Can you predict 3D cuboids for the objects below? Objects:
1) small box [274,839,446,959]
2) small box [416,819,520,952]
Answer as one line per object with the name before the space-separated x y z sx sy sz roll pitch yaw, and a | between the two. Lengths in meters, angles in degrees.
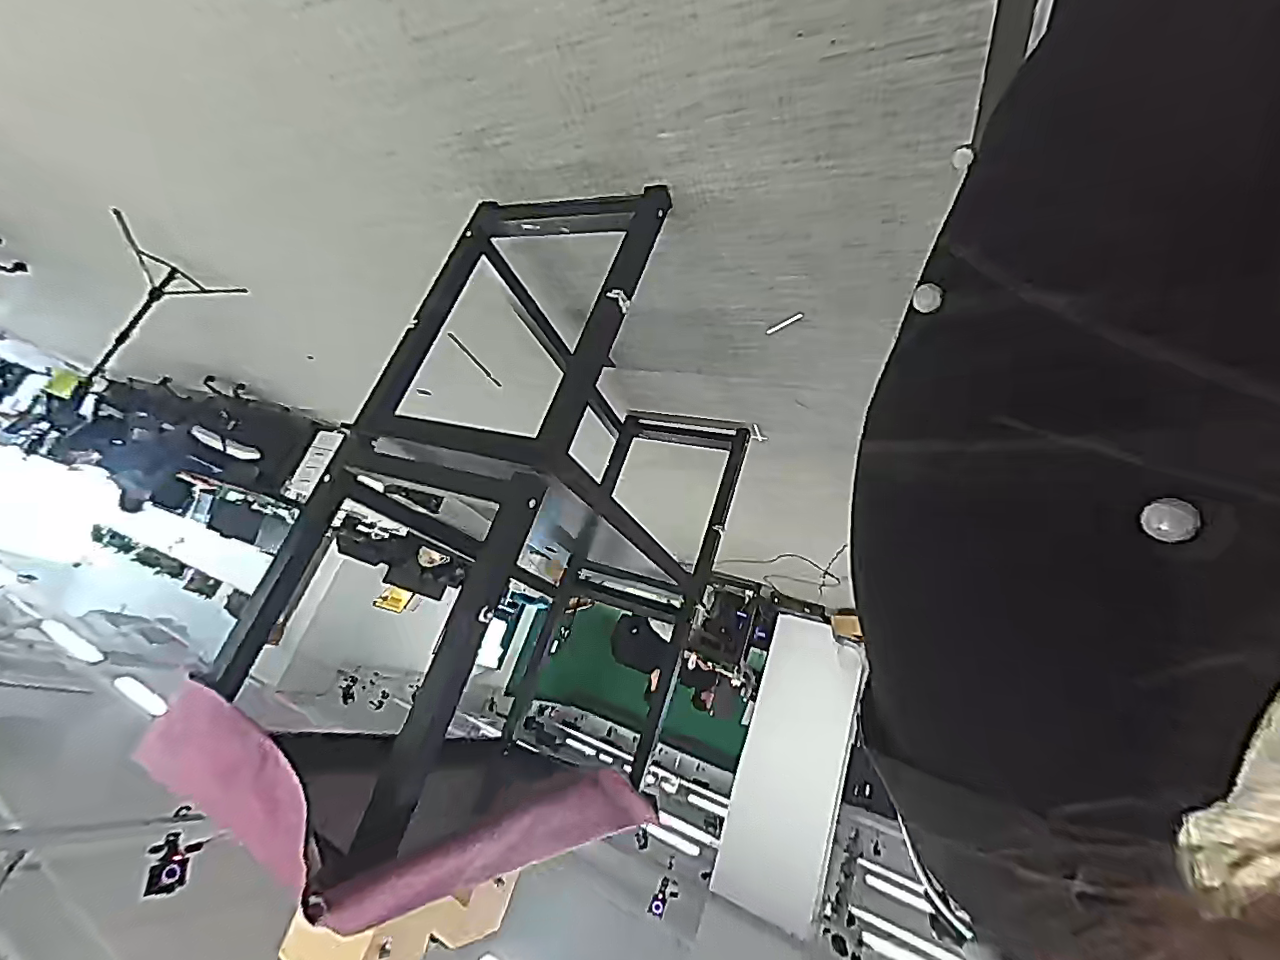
small box | -0.484 0.770 0.957 0.168 0.176 0.179 13 162 25
small box | -0.401 0.883 1.201 0.179 0.176 0.168 10 160 28
